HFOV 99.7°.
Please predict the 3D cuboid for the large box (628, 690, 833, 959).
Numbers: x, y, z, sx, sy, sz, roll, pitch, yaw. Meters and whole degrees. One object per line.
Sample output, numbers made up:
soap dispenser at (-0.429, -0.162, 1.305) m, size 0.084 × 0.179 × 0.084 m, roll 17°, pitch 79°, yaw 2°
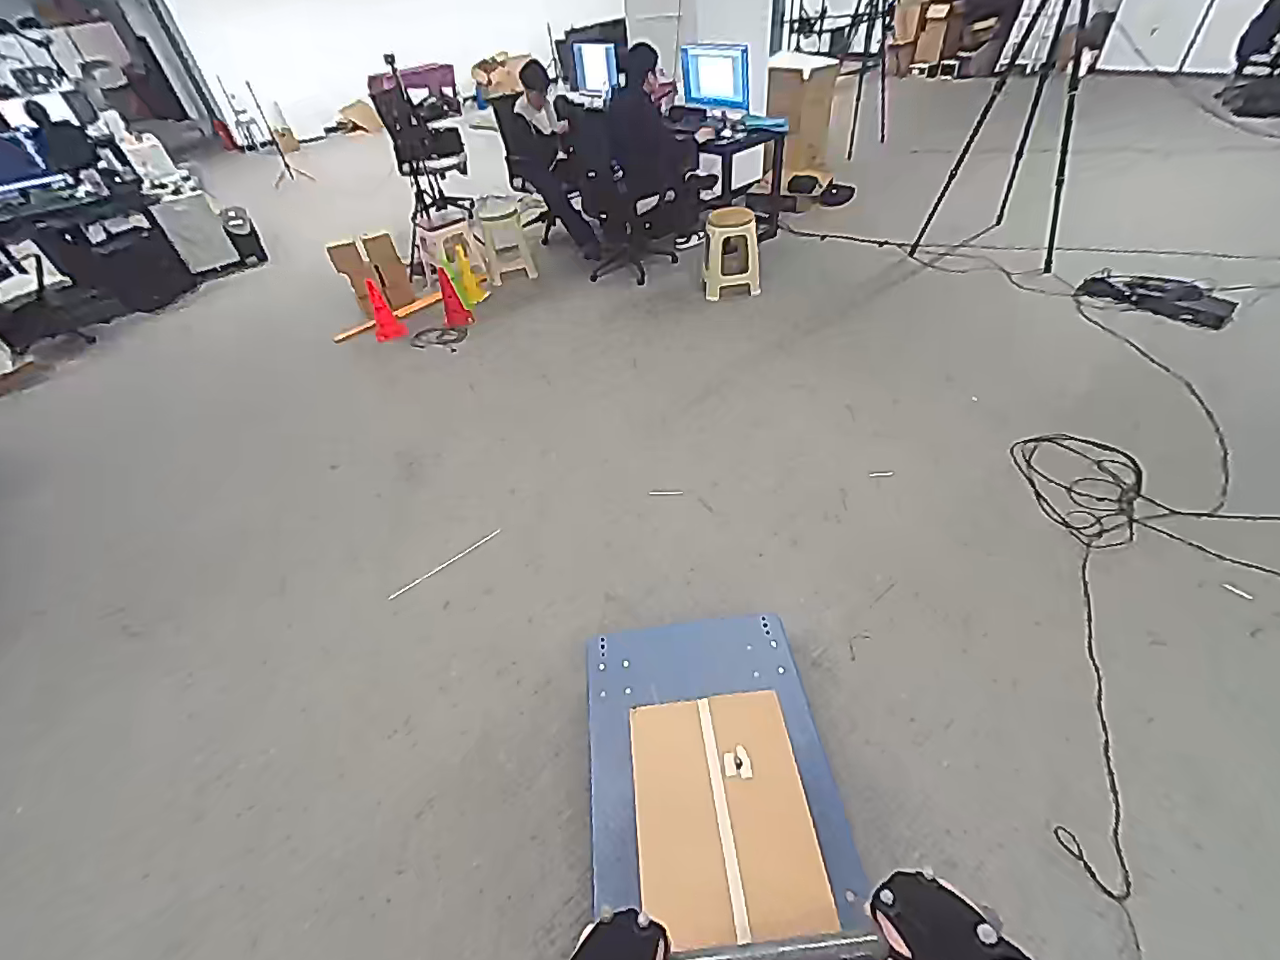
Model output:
large box at (0.161, 0.711, 1.110) m, size 0.320 × 0.320 × 0.408 m, roll -7°, pitch 42°, yaw 0°
